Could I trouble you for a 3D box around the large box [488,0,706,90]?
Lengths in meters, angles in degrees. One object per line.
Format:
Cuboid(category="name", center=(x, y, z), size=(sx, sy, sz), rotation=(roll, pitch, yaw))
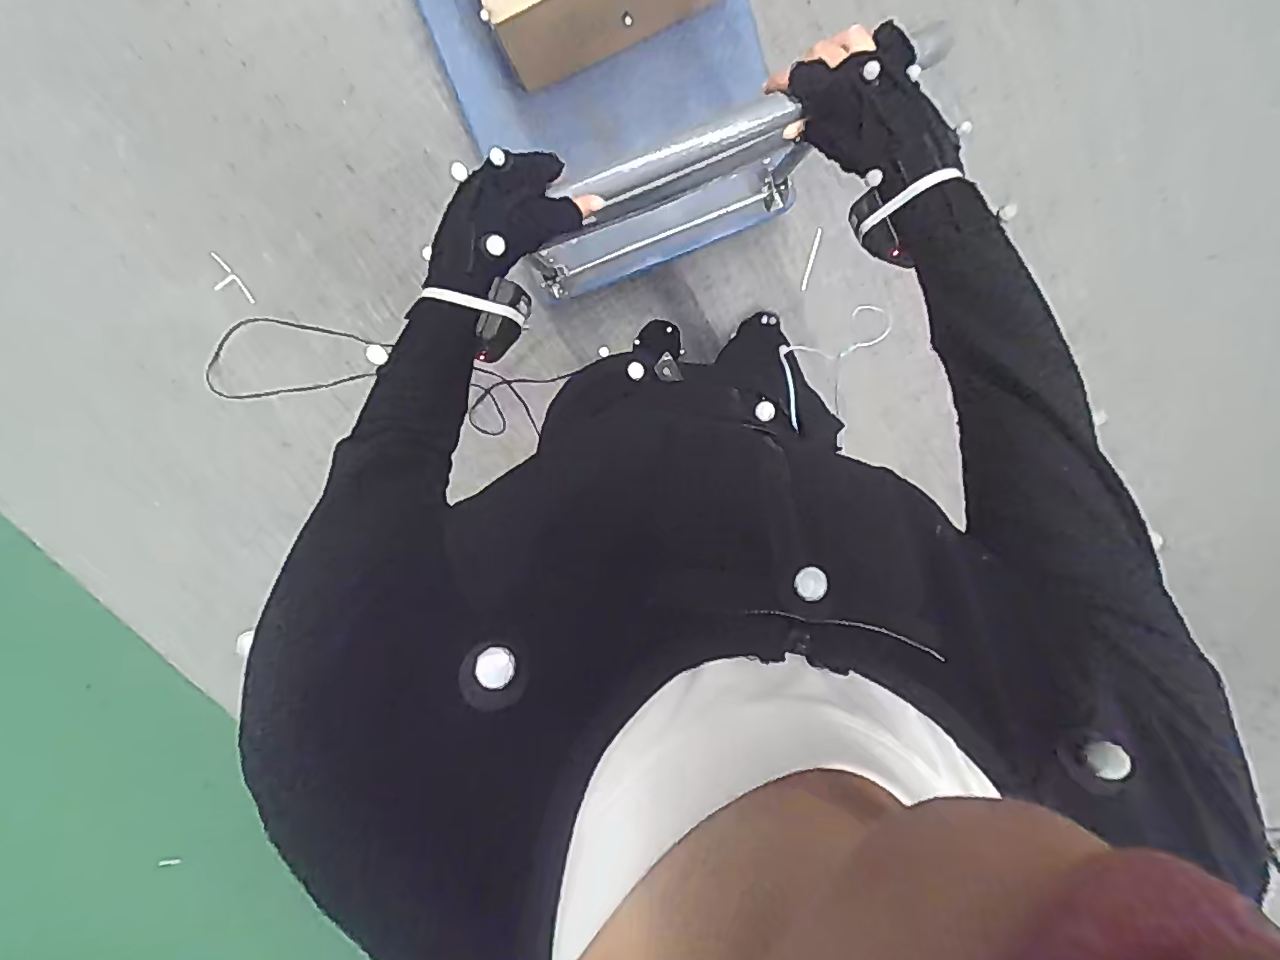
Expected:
Cuboid(category="large box", center=(-0.079, -0.903, 0.836), size=(0.408, 0.320, 0.320), rotation=(-22, 108, 8))
